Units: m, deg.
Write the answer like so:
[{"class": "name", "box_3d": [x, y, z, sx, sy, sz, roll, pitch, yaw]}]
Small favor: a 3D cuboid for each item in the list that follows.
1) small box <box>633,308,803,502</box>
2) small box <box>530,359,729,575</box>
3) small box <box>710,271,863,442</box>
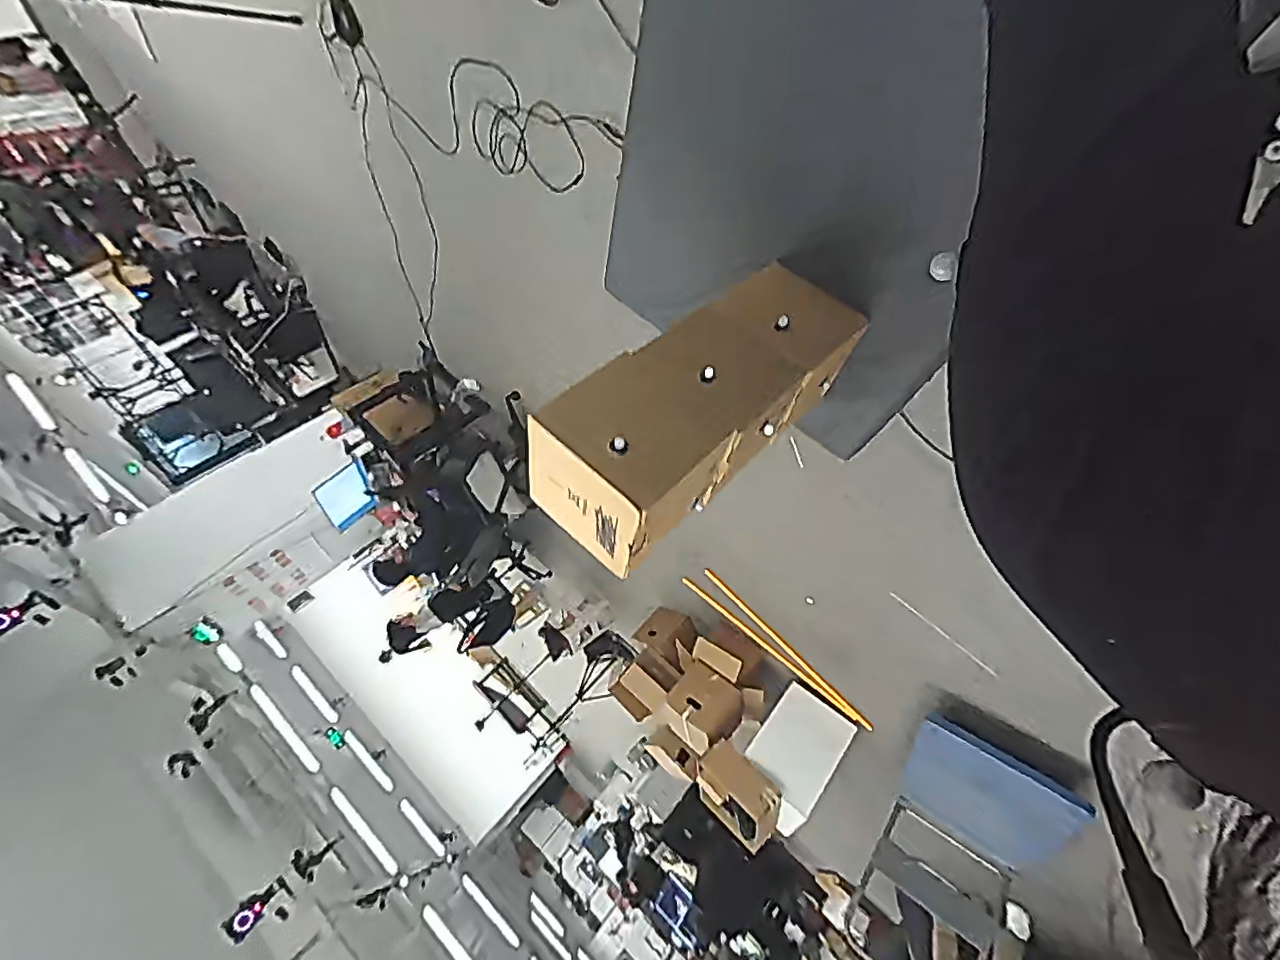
[{"class": "small box", "box_3d": [0.096, -0.109, 0.758, 0.179, 0.176, 0.168, 40, 148, 15]}, {"class": "small box", "box_3d": [-0.016, -0.021, 0.678, 0.179, 0.176, 0.168, 39, 147, 17]}, {"class": "small box", "box_3d": [0.205, -0.198, 0.840, 0.179, 0.176, 0.168, 39, 149, 16]}]
